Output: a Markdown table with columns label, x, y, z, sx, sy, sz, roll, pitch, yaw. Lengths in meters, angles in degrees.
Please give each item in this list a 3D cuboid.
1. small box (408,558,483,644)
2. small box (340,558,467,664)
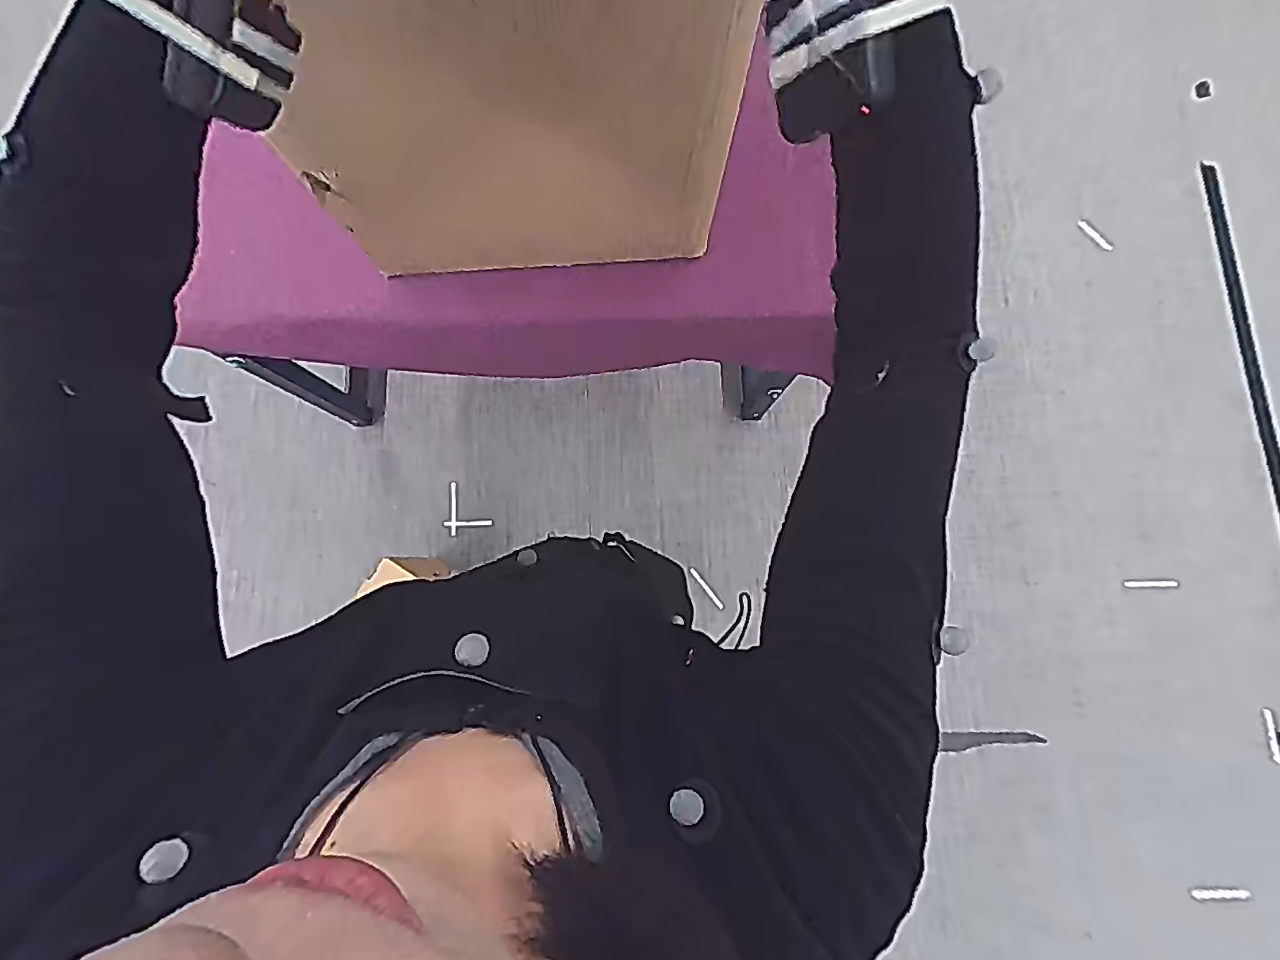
| label | x | y | z | sx | sy | sz | roll | pitch | yaw |
| --- | --- | --- | --- | --- | --- | --- | --- | --- | --- |
| small box | -0.542 | 0.320 | 1.410 | 0.179 | 0.176 | 0.168 | 30 | 81 | 3 |
| small box | -0.534 | 0.297 | 1.248 | 0.179 | 0.176 | 0.168 | 32 | 82 | 4 |
